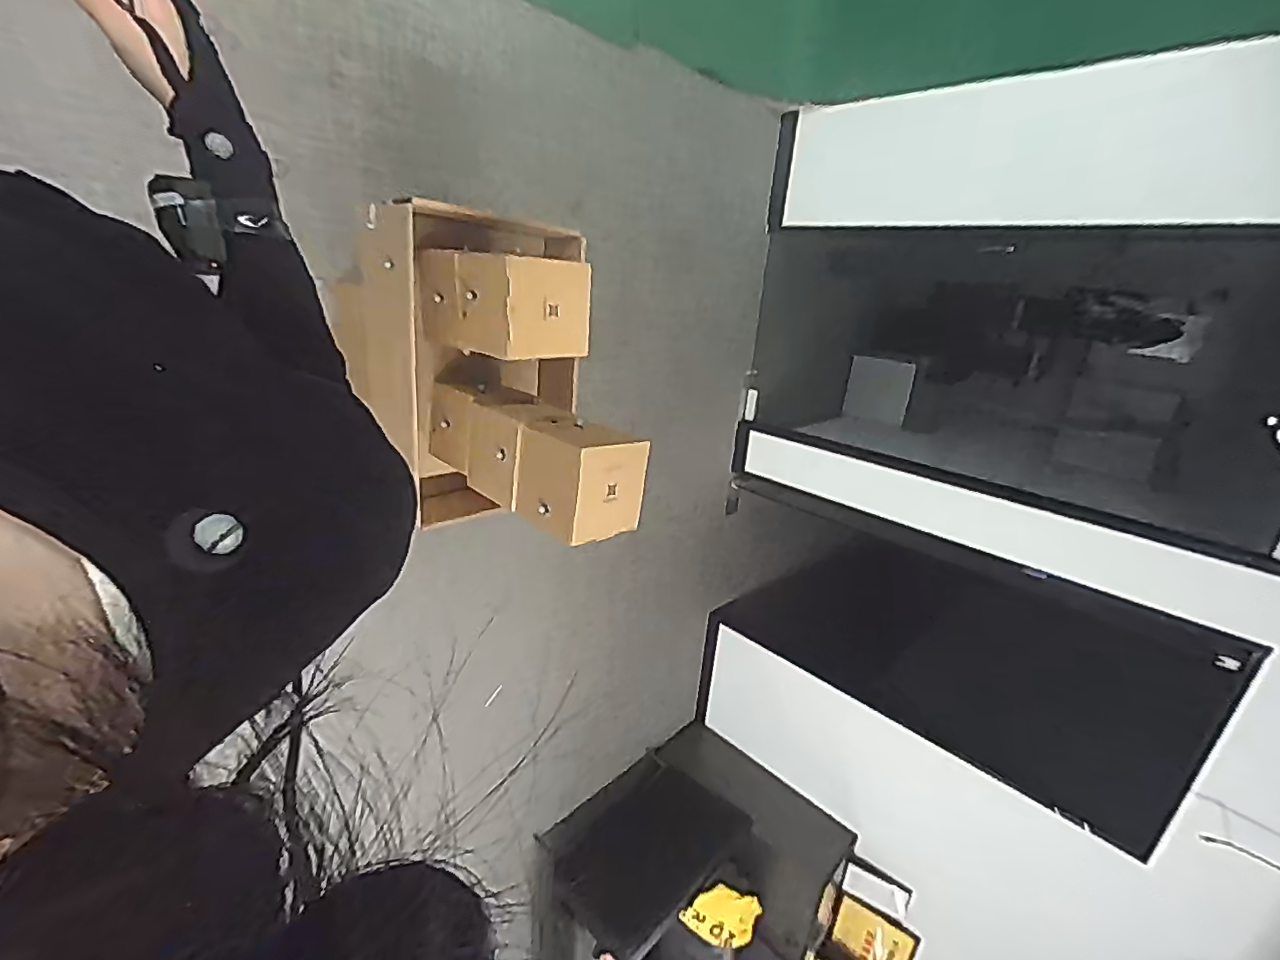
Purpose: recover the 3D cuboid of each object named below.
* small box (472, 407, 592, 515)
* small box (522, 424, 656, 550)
[{"bbox_3d":[-0.218,-0.048,1.076,0.168,0.176,0.179,-8,113,-45],"label":"small box"},{"bbox_3d":[-0.097,0.004,0.979,0.168,0.176,0.179,-9,113,-46],"label":"small box"}]
